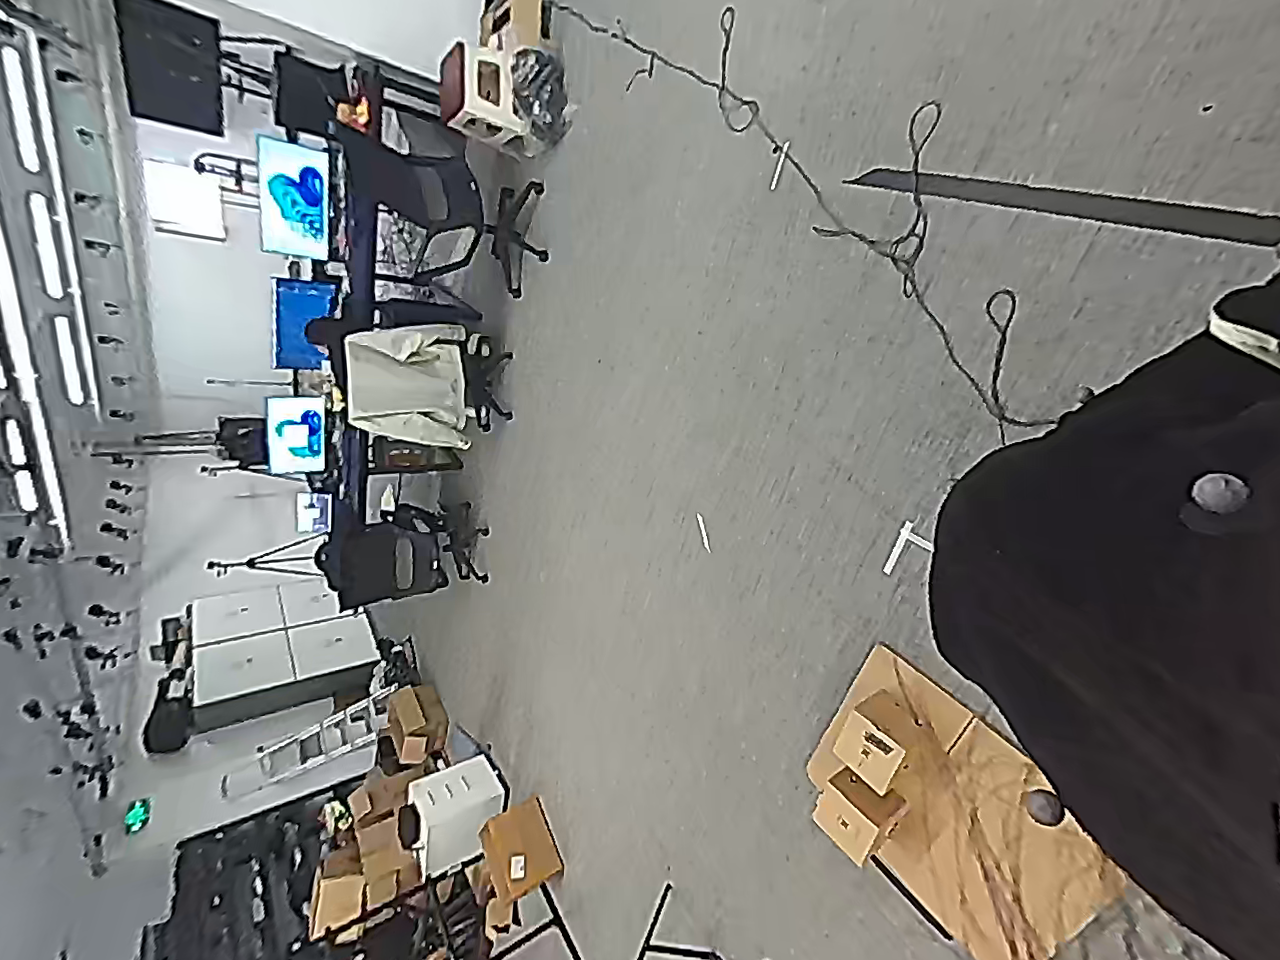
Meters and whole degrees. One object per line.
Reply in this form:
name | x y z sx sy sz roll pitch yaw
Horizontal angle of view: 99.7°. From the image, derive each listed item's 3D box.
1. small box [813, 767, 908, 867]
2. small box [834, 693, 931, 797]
small box | 0.657 0.988 1.614 0.179 0.176 0.168 32 120 44
small box | 0.692 0.742 1.535 0.168 0.176 0.179 36 121 44
